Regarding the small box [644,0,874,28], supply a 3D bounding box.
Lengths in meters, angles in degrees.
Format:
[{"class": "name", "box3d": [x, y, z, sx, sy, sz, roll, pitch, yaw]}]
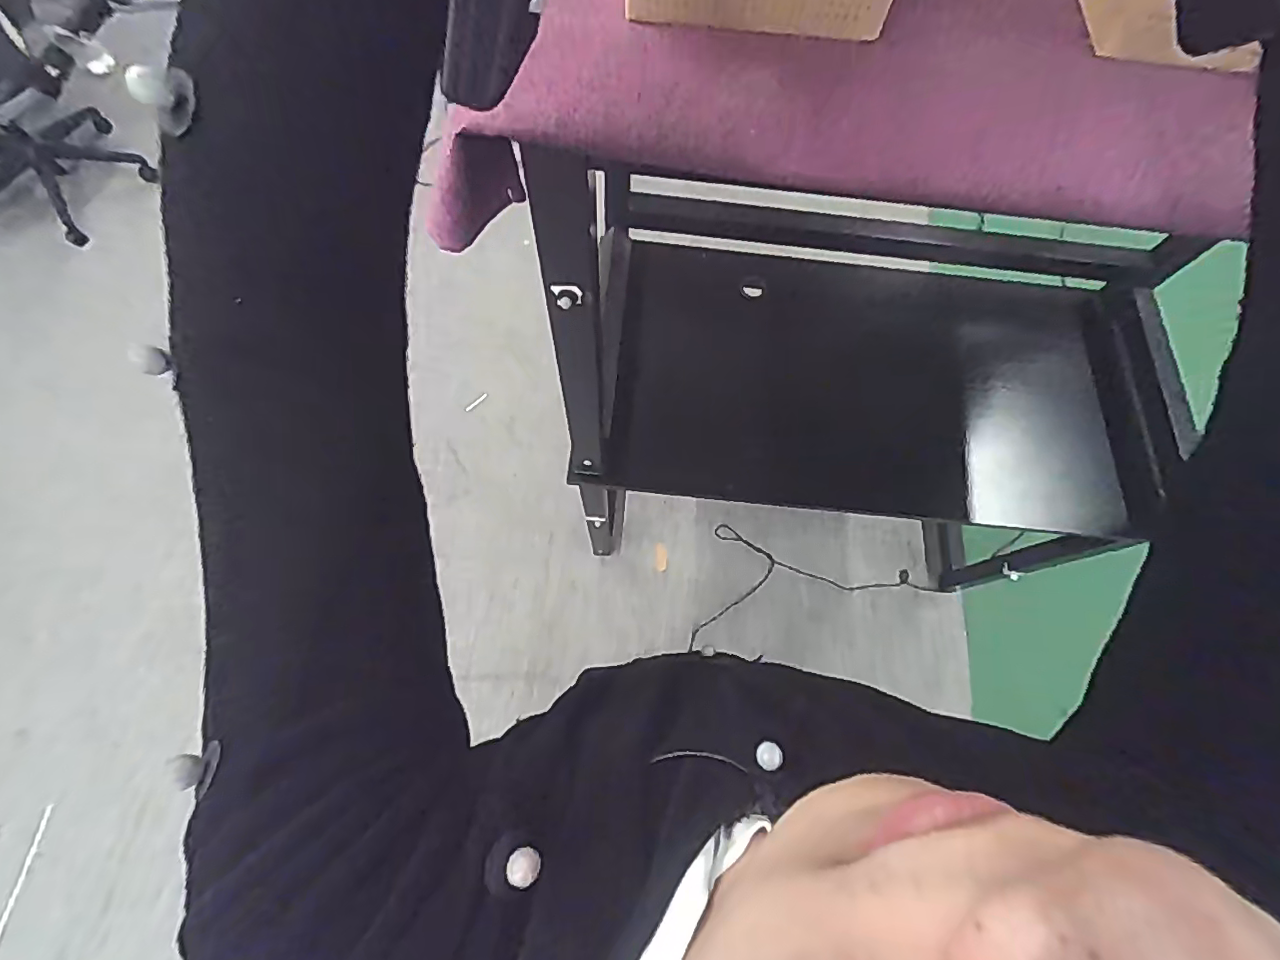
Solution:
[{"class": "small box", "box3d": [0.081, -0.414, 0.321, 0.179, 0.176, 0.168, 4, 70, -2]}]

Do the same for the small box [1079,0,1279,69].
[{"class": "small box", "box3d": [0.412, -0.391, 0.328, 0.179, 0.176, 0.168, 7, 68, 0]}]
